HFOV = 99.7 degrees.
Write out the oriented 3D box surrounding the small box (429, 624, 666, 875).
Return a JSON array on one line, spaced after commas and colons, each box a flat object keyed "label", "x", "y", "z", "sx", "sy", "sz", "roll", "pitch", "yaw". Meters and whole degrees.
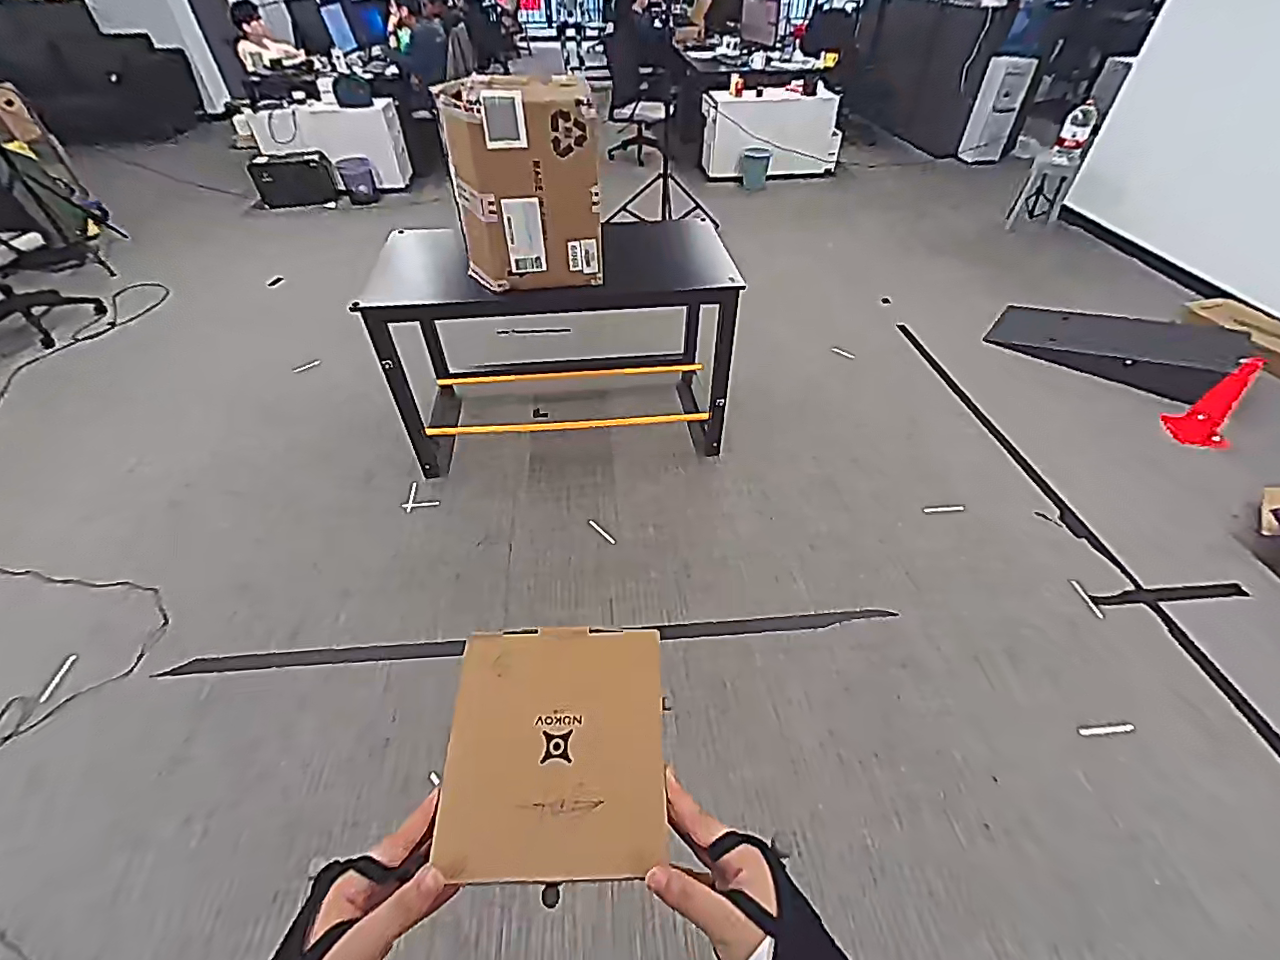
[{"label": "small box", "x": -0.066, "y": 0.243, "z": 0.483, "sx": 0.168, "sy": 0.176, "sz": 0.179, "roll": -1, "pitch": 55, "yaw": -1}]
